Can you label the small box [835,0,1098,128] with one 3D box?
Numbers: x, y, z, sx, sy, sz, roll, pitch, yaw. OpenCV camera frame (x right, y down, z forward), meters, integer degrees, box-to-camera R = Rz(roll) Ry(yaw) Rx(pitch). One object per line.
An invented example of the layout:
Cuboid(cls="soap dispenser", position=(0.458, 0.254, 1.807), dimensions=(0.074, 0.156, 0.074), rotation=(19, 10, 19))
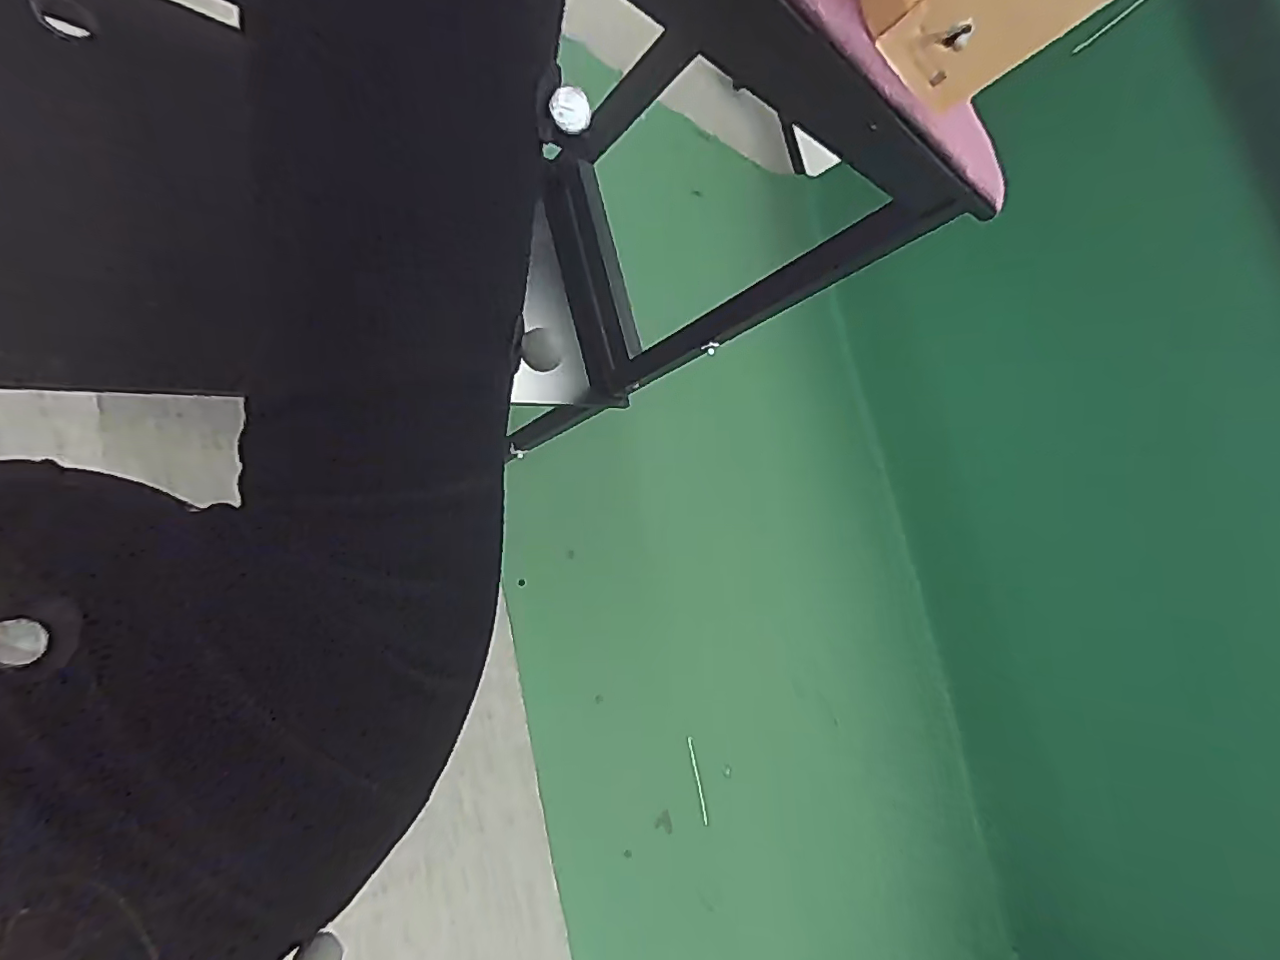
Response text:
Cuboid(cls="small box", position=(0.285, -0.483, 0.498), dimensions=(0.168, 0.176, 0.179), rotation=(-3, 80, -44))
